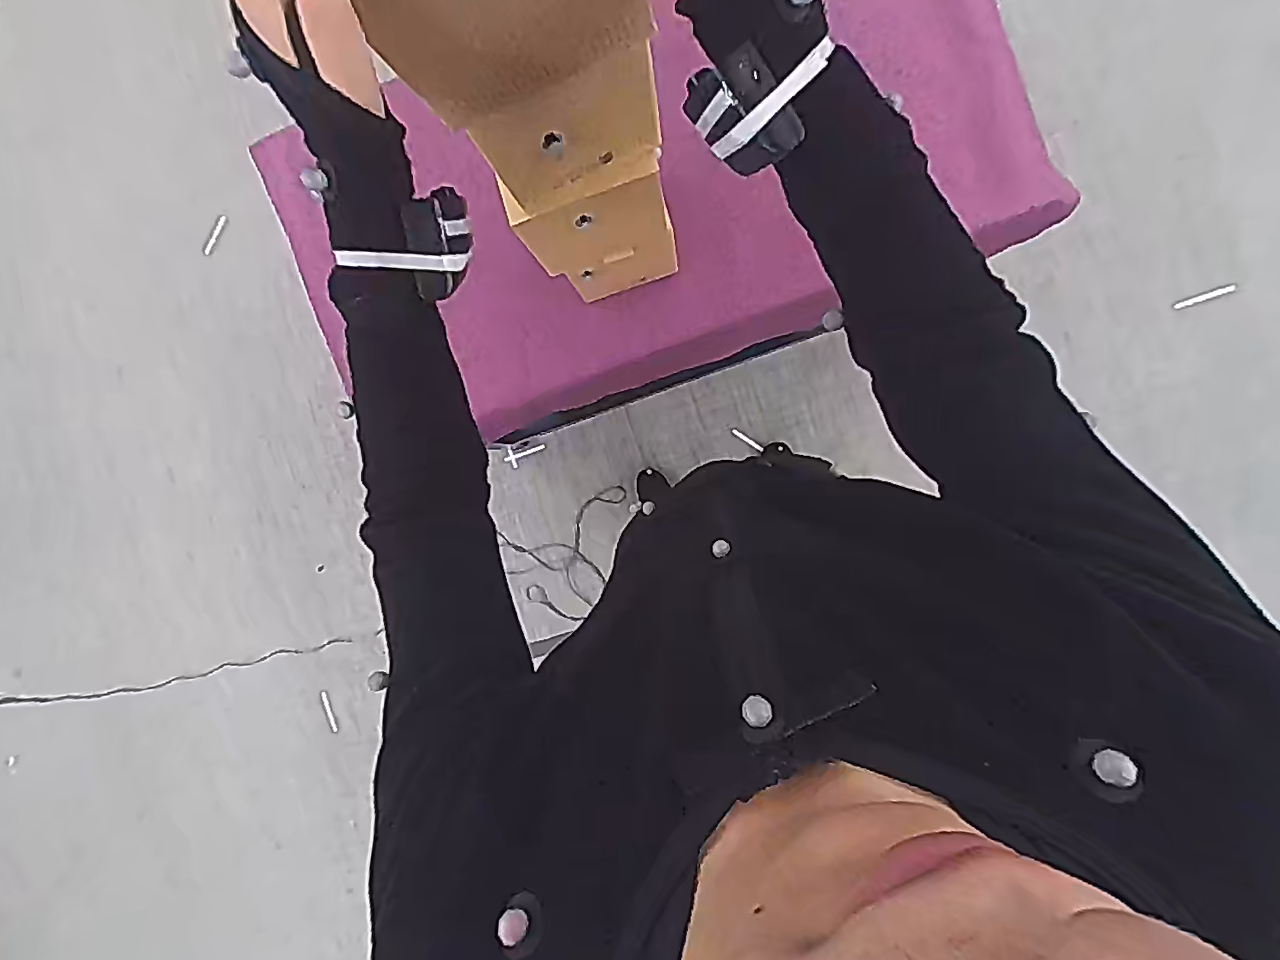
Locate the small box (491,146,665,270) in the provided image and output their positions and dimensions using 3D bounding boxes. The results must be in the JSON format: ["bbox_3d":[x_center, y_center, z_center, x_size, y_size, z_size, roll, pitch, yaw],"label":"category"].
[{"bbox_3d":[-0.076,-0.385,0.667,0.179,0.176,0.168,-17,90,6],"label":"small box"}]

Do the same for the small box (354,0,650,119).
[{"bbox_3d":[-0.107,-0.374,0.337,0.179,0.176,0.168,-18,91,10],"label":"small box"}]

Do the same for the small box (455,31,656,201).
[{"bbox_3d":[-0.095,-0.396,0.505,0.168,0.176,0.179,-24,88,7],"label":"small box"}]
